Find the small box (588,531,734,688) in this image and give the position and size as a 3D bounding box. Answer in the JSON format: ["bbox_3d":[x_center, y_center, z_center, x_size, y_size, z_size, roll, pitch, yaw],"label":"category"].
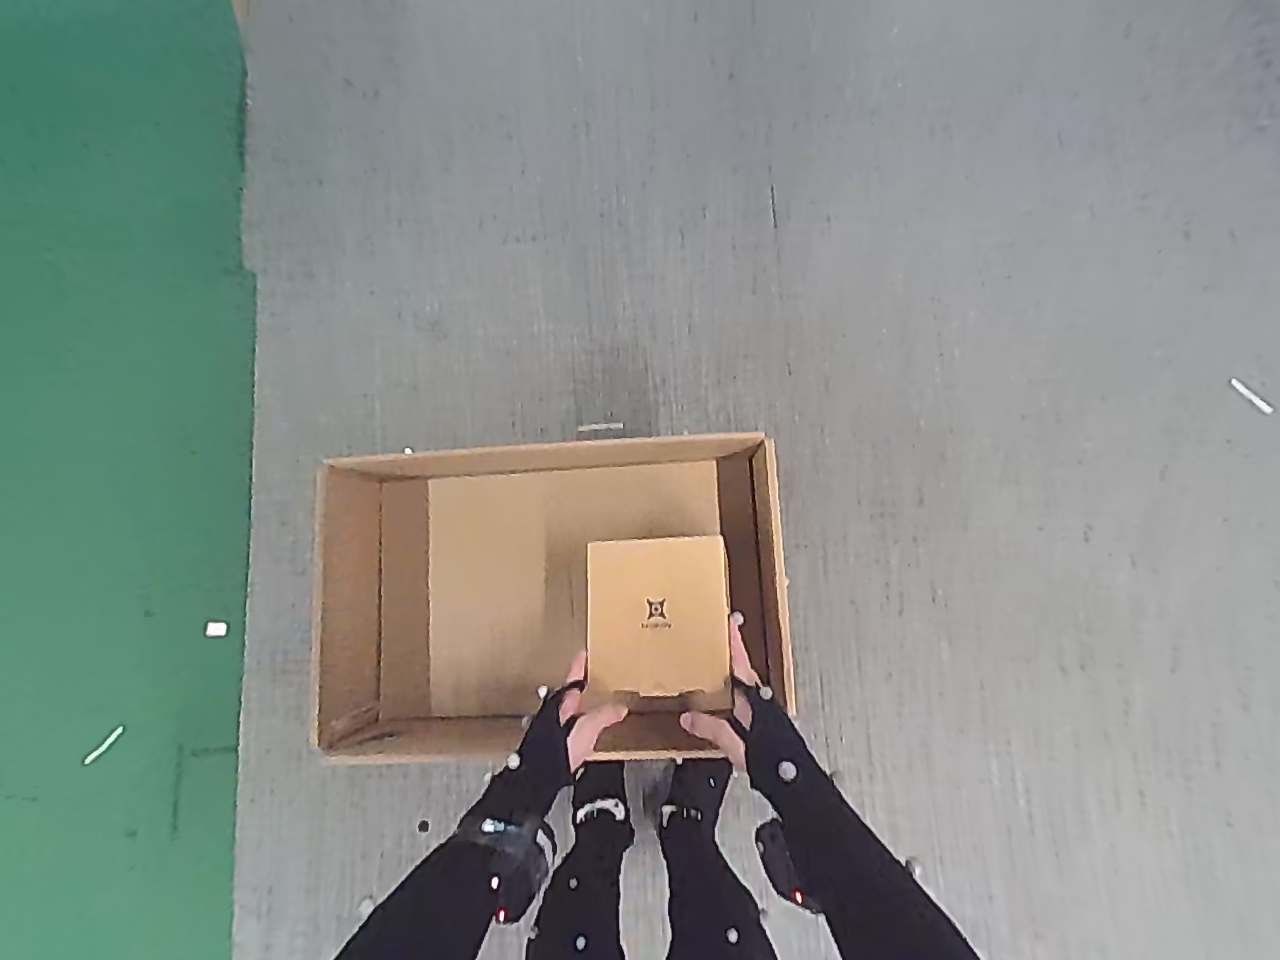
[{"bbox_3d":[0.033,0.170,0.701,0.168,0.176,0.179,-4,75,9],"label":"small box"}]
